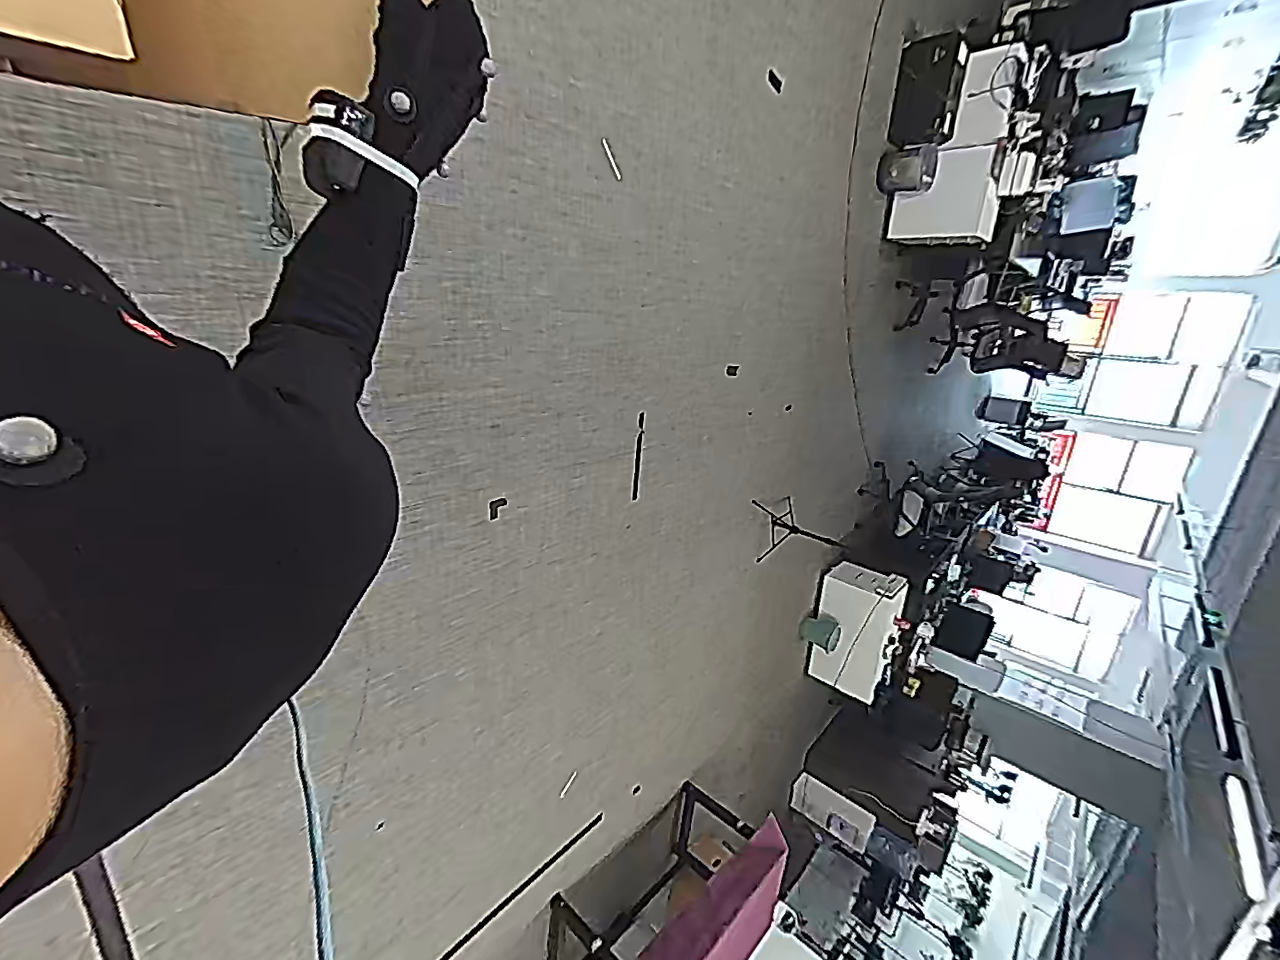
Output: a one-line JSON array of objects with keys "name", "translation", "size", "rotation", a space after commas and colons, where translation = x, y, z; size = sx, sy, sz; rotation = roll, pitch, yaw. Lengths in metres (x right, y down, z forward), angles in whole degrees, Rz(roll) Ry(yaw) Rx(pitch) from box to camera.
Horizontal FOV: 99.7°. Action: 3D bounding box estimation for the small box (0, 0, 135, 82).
[{"name": "small box", "translation": [-0.410, -0.312, 0.256], "size": [0.179, 0.176, 0.168], "rotation": [-38, 142, -54]}]
